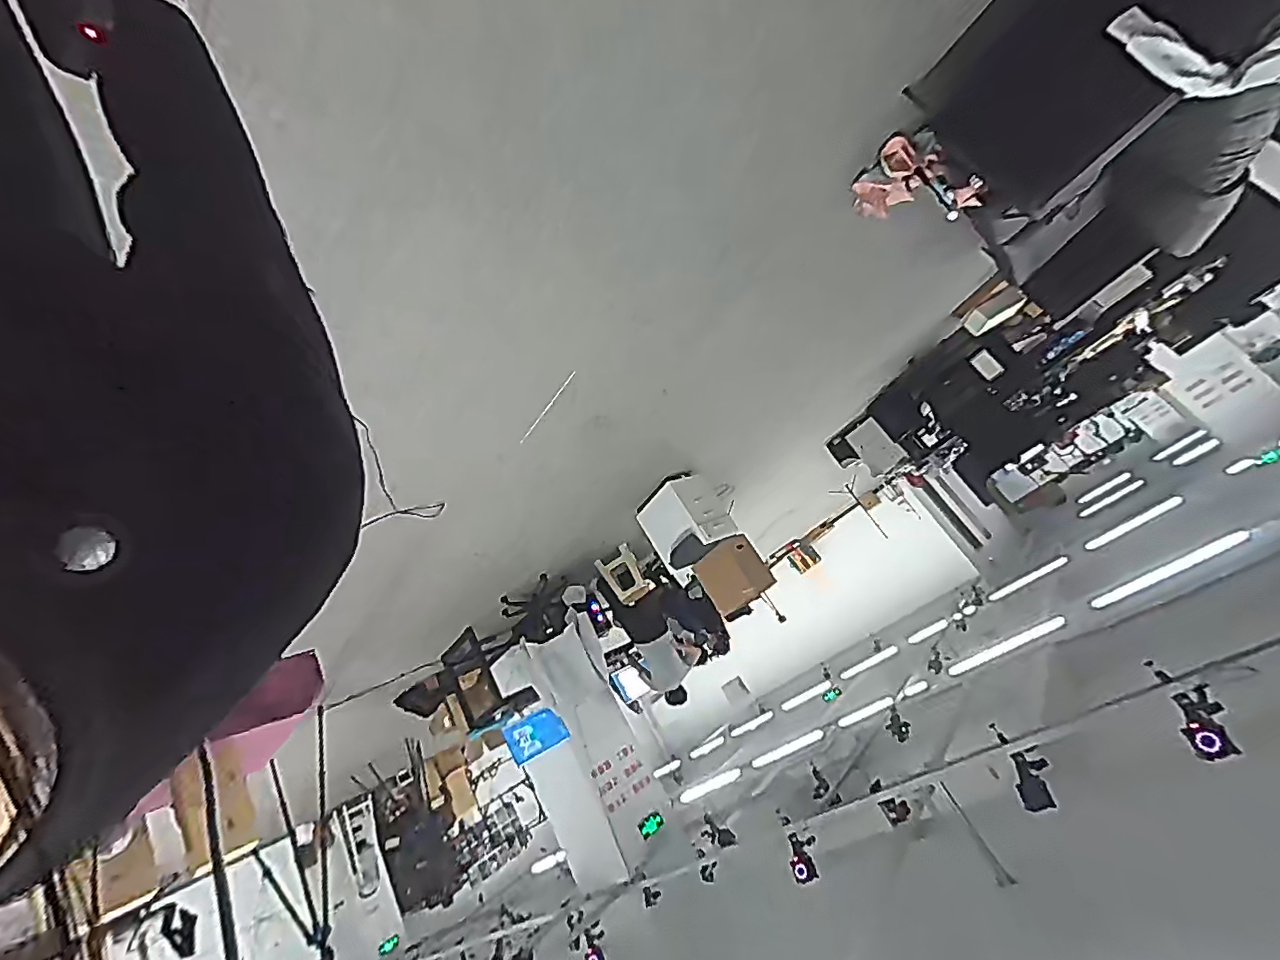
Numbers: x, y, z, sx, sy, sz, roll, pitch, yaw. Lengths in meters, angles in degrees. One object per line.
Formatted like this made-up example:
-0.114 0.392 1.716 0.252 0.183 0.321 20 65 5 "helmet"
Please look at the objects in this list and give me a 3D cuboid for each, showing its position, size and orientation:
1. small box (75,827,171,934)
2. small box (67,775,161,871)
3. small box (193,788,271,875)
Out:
-1.493 1.148 1.559 0.168 0.176 0.179 -44 157 31 "small box"
-1.577 1.019 1.619 0.179 0.176 0.168 -5 147 -50 "small box"
-1.338 1.142 1.768 0.168 0.176 0.179 -7 150 -48 "small box"
